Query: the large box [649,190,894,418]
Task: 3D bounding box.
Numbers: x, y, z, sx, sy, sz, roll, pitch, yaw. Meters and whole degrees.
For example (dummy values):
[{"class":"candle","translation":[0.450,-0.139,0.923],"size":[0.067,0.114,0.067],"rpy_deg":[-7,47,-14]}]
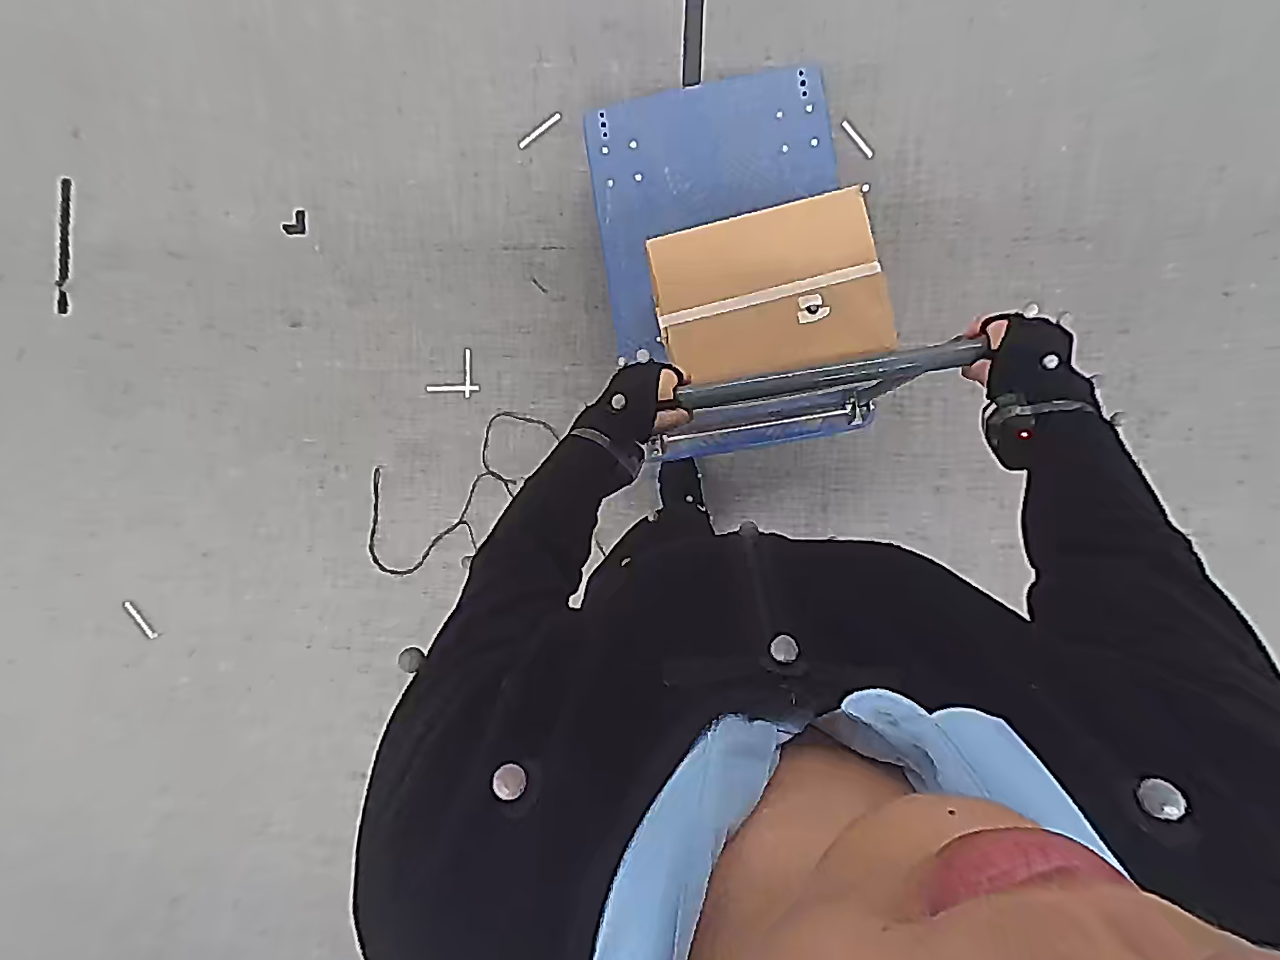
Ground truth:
[{"class":"large box","translation":[0.251,-0.342,1.156],"size":[0.408,0.320,0.320],"rpy_deg":[-13,90,3]}]
